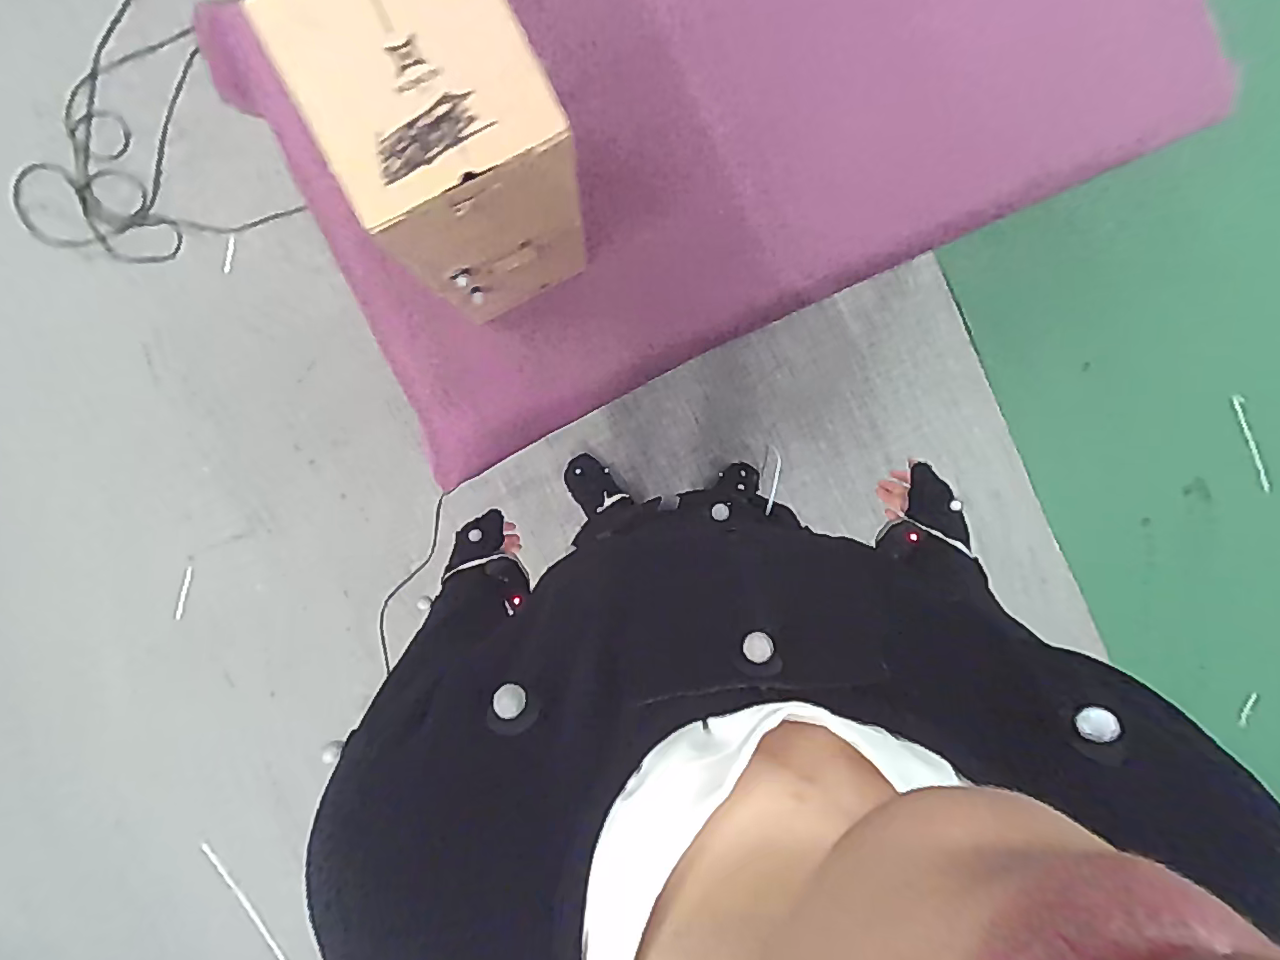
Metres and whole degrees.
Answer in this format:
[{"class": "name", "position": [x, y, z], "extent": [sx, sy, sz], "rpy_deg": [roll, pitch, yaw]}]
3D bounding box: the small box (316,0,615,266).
[{"class": "small box", "position": [-0.128, -0.301, 0.456], "extent": [0.168, 0.176, 0.179], "rpy_deg": [-22, 96, -4]}]
